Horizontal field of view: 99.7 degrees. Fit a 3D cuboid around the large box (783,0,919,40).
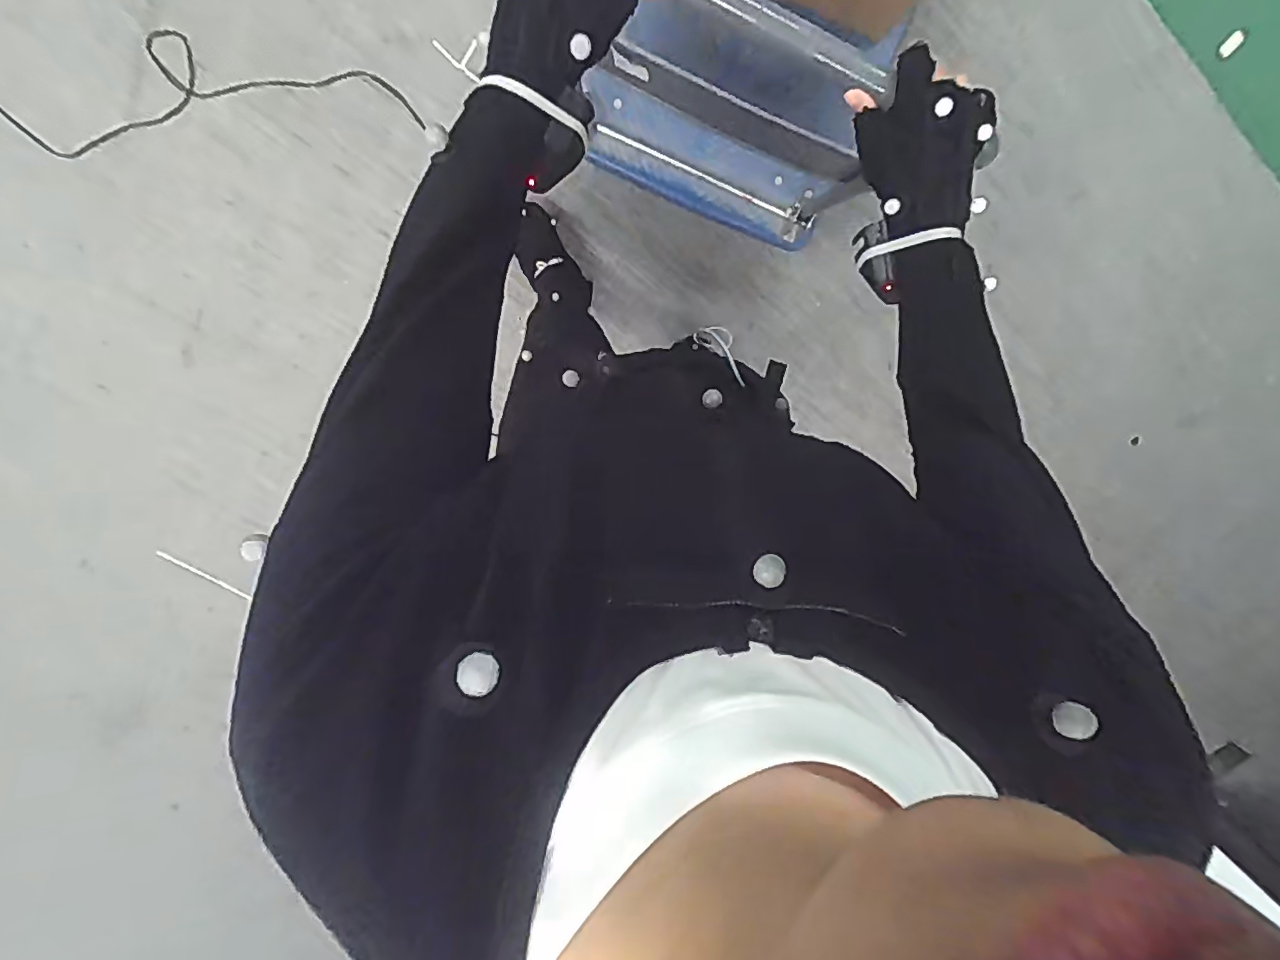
[{"bbox_3d":[0.314,-0.972,0.817,0.408,0.320,0.320,19,108,-7],"label":"large box"}]
